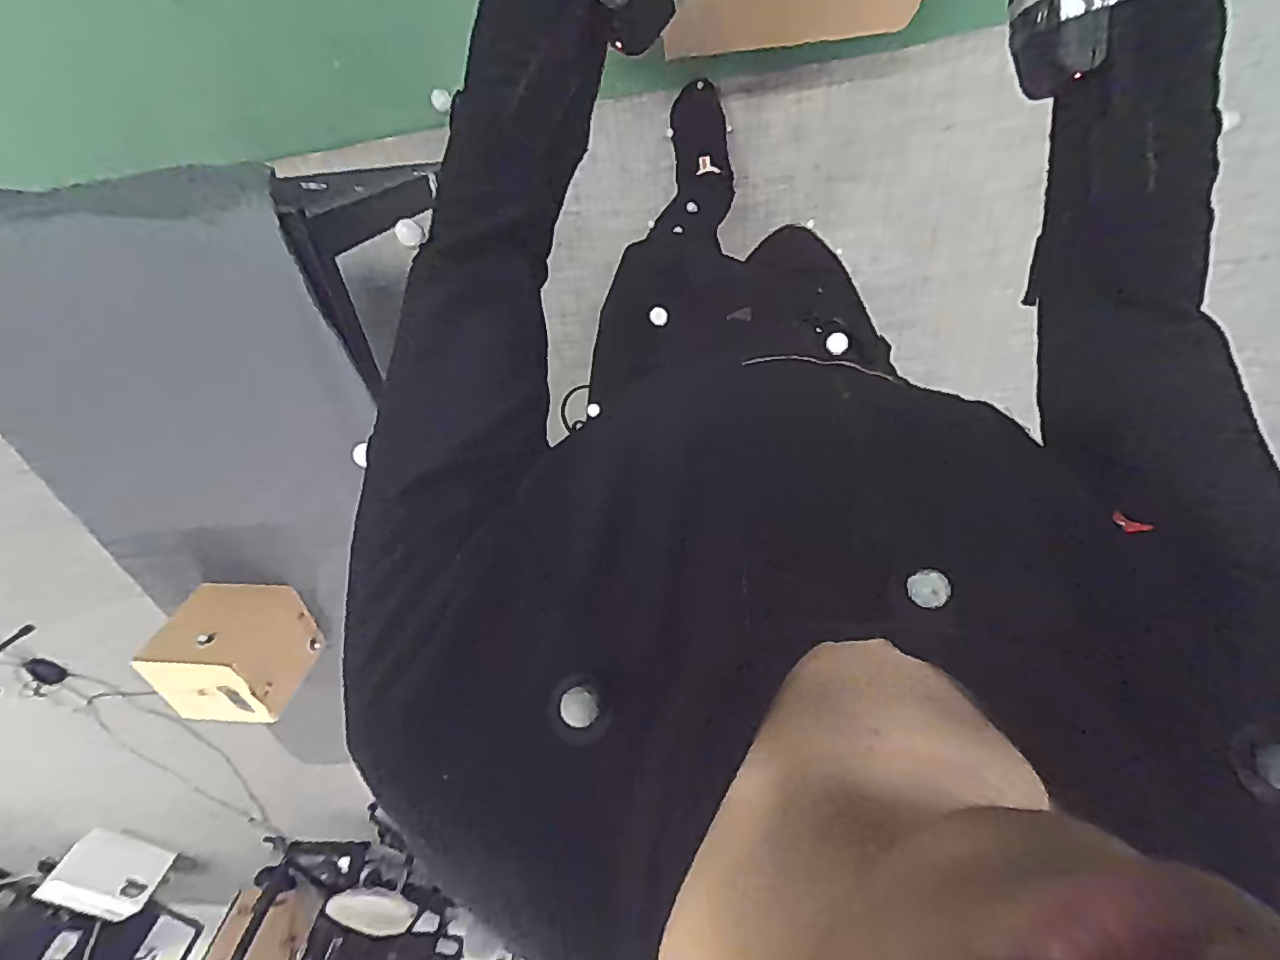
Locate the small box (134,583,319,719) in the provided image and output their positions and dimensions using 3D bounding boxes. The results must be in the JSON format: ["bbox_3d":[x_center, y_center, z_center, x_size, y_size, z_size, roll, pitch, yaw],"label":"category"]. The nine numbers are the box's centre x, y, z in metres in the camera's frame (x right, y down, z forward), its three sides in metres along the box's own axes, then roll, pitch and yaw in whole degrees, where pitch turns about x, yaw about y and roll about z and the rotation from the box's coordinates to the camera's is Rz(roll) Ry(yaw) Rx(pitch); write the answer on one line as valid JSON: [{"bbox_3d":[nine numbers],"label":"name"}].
[{"bbox_3d":[-0.704,0.297,0.954,0.179,0.176,0.168,1,126,5],"label":"small box"}]
